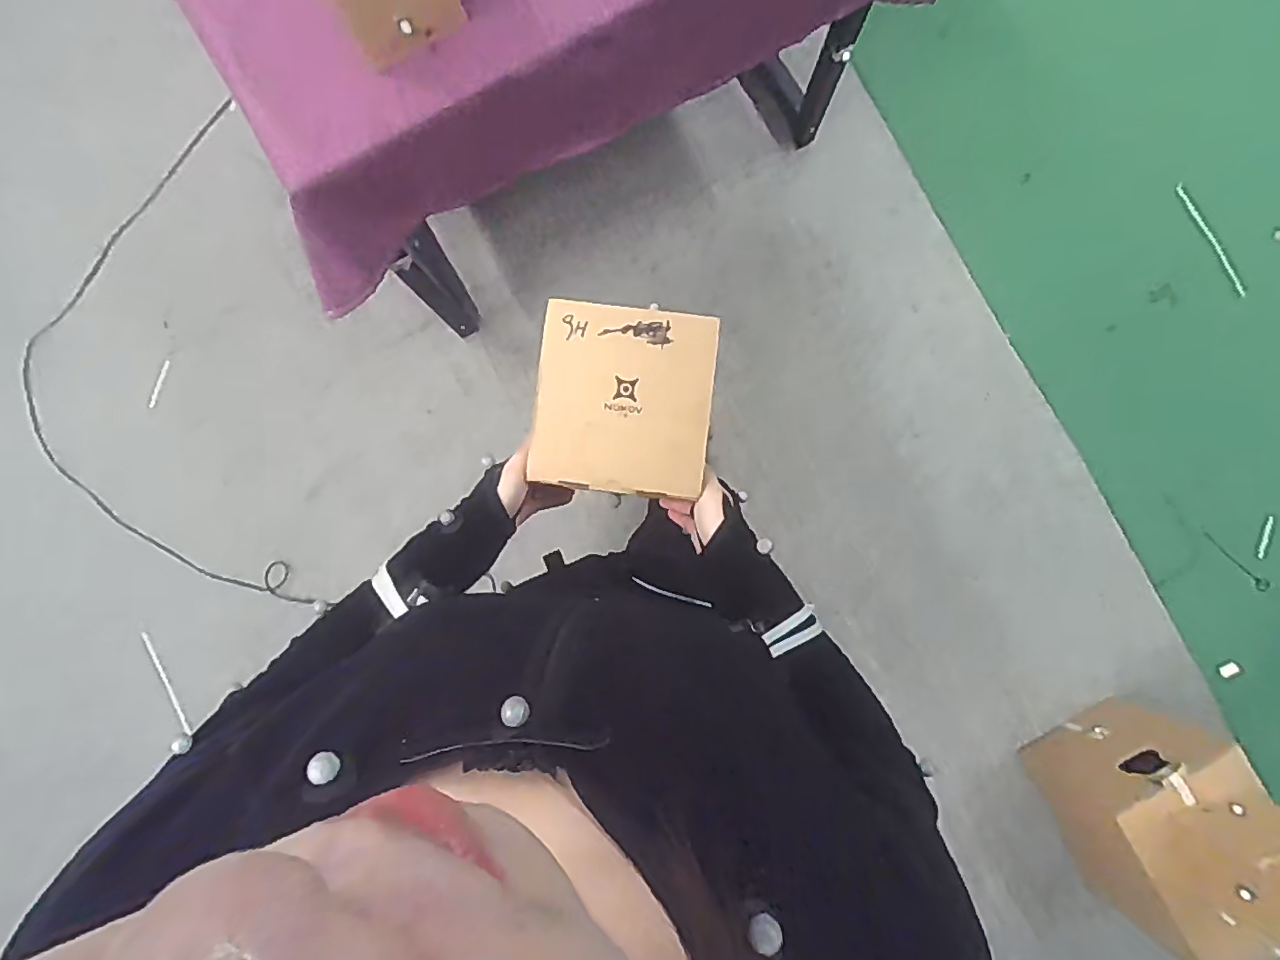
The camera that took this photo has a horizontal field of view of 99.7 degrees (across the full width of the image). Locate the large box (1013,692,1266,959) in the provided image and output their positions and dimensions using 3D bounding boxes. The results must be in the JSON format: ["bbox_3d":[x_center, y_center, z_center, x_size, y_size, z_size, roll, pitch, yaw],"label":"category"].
[{"bbox_3d":[1.221,0.804,1.299,0.320,0.320,0.408,-28,88,-1],"label":"large box"}]

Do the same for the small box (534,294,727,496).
[{"bbox_3d":[-0.008,-0.080,0.588,0.168,0.176,0.179,7,89,0],"label":"small box"}]

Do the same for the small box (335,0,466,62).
[{"bbox_3d":[-0.370,-0.745,0.748,0.168,0.176,0.179,-27,87,-1],"label":"small box"}]

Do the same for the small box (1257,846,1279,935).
[{"bbox_3d":[1.212,0.737,0.897,0.168,0.176,0.179,-14,86,-2],"label":"small box"}]
